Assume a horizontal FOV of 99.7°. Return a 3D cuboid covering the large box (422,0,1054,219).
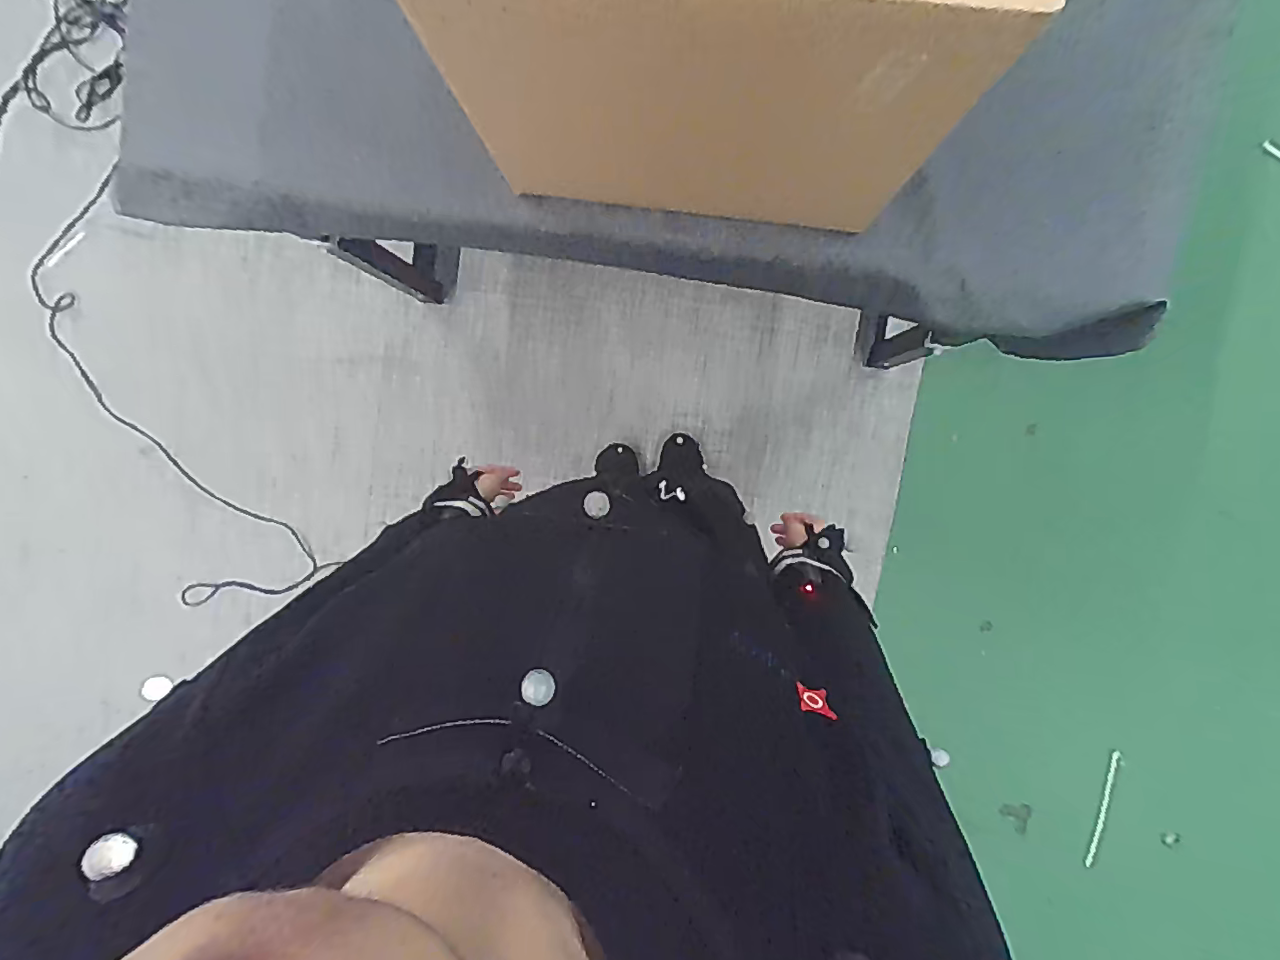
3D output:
[{"bbox_3d":[0.065,-0.453,0.458,0.408,0.320,0.320,7,95,1],"label":"large box"}]
